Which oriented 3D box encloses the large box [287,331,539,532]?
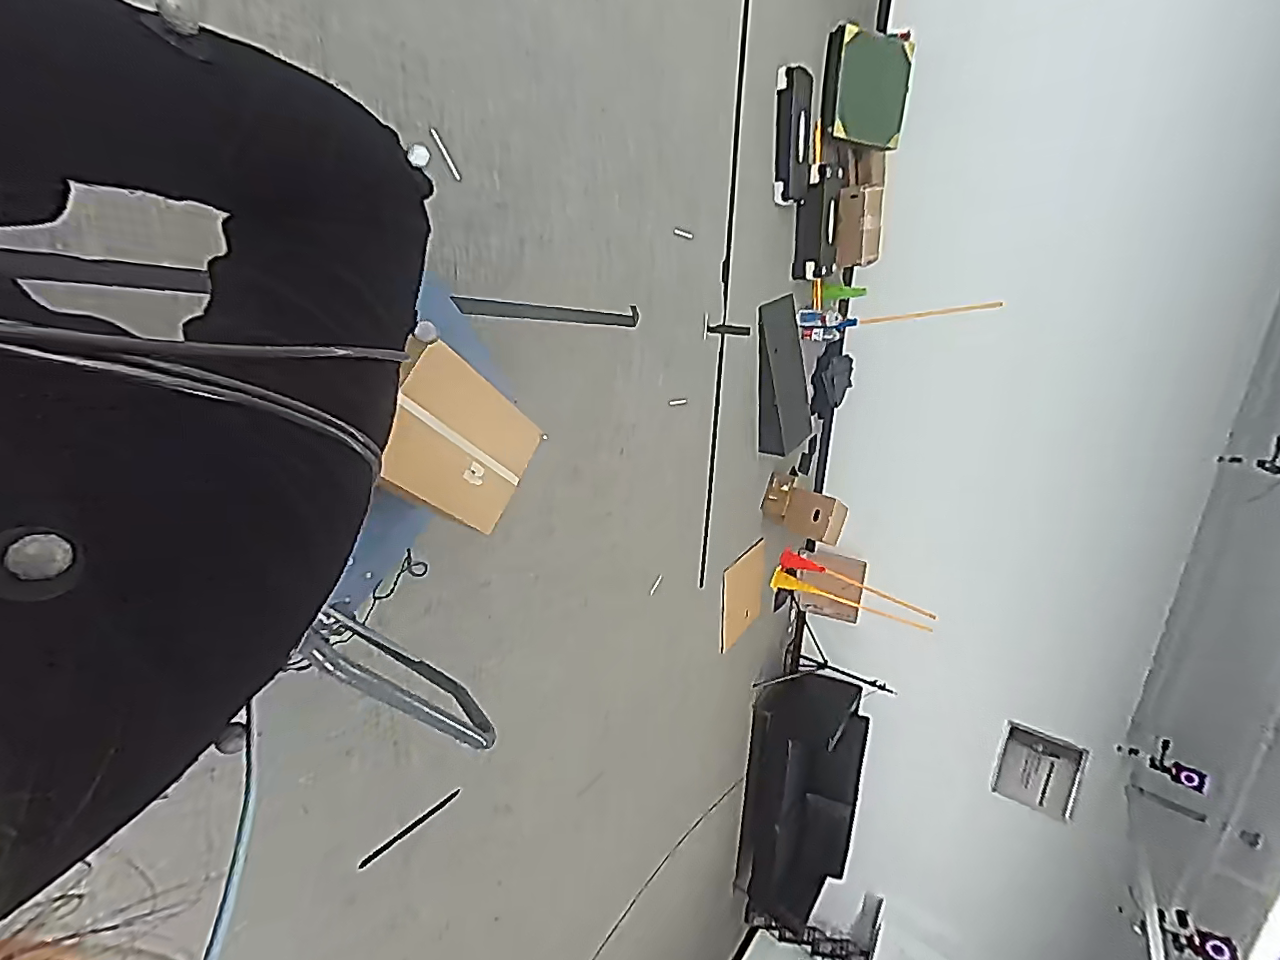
[{"bbox_3d":[-0.535,-0.115,1.322,0.408,0.320,0.320,46,64,-51],"label":"large box"}]
